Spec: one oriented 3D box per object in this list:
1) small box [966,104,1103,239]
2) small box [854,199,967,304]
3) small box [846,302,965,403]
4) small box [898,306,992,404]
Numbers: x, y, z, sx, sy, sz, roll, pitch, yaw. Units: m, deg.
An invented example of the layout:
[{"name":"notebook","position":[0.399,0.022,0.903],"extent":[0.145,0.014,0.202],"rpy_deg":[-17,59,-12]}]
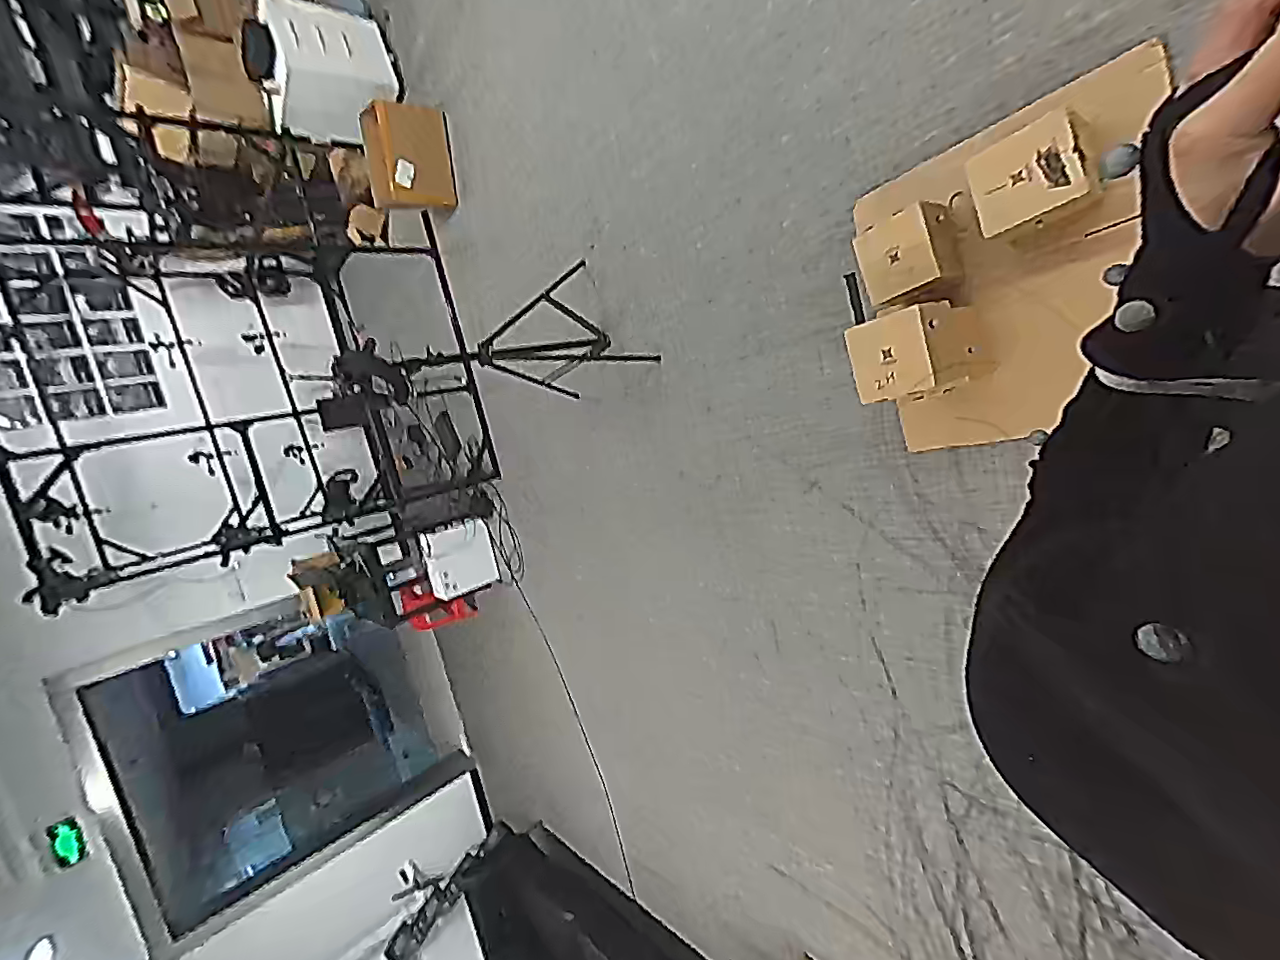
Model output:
[{"name":"small box","position":[0.793,-0.605,1.082],"extent":[0.179,0.176,0.168],"rpy_deg":[-15,93,51]},{"name":"small box","position":[0.645,-0.536,1.287],"extent":[0.168,0.176,0.179],"rpy_deg":[-16,93,52]},{"name":"small box","position":[0.586,-0.282,1.191],"extent":[0.168,0.176,0.179],"rpy_deg":[-10,97,52]},{"name":"small box","position":[0.714,-0.301,1.297],"extent":[0.168,0.176,0.179],"rpy_deg":[-16,93,51]}]
